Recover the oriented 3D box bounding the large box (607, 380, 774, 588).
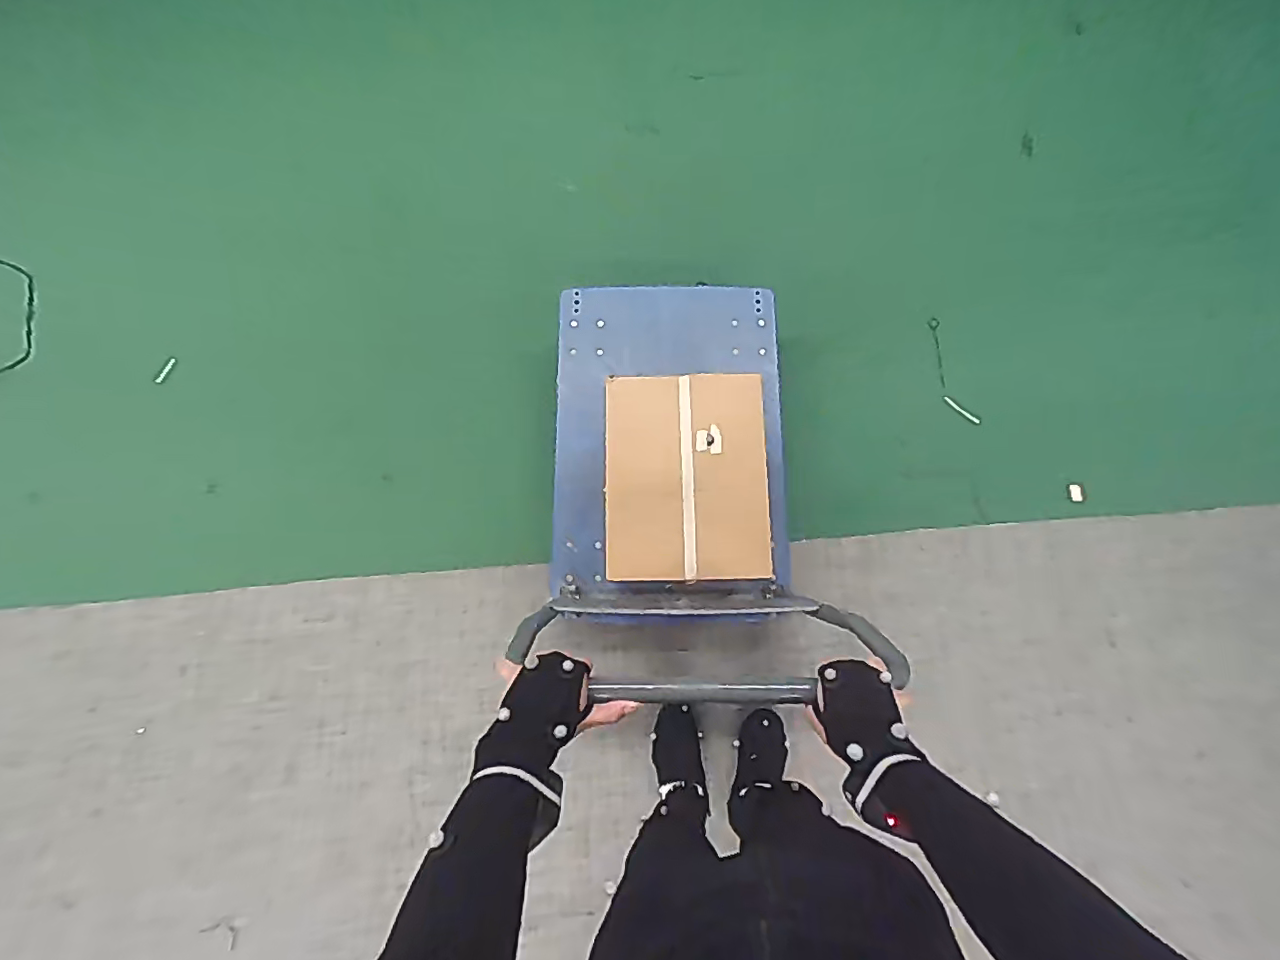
[{"bbox_3d":[0.096,0.028,1.193,0.320,0.320,0.408,-1,78,0],"label":"large box"}]
